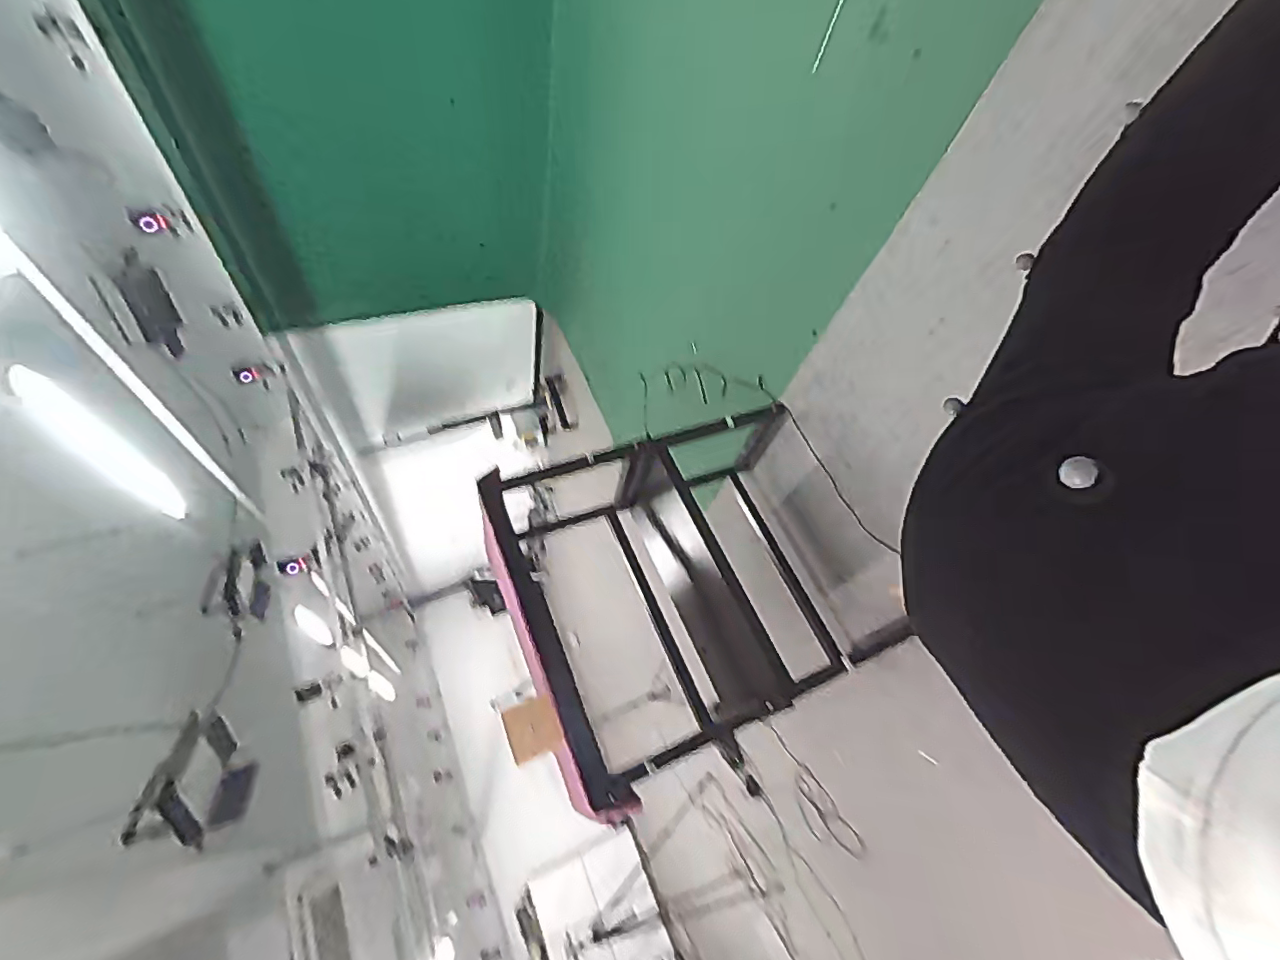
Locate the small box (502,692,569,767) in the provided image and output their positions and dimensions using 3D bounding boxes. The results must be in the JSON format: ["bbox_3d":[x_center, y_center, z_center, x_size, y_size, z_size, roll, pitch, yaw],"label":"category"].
[{"bbox_3d":[-0.348,0.818,1.782,0.179,0.176,0.168,64,158,23],"label":"small box"}]
